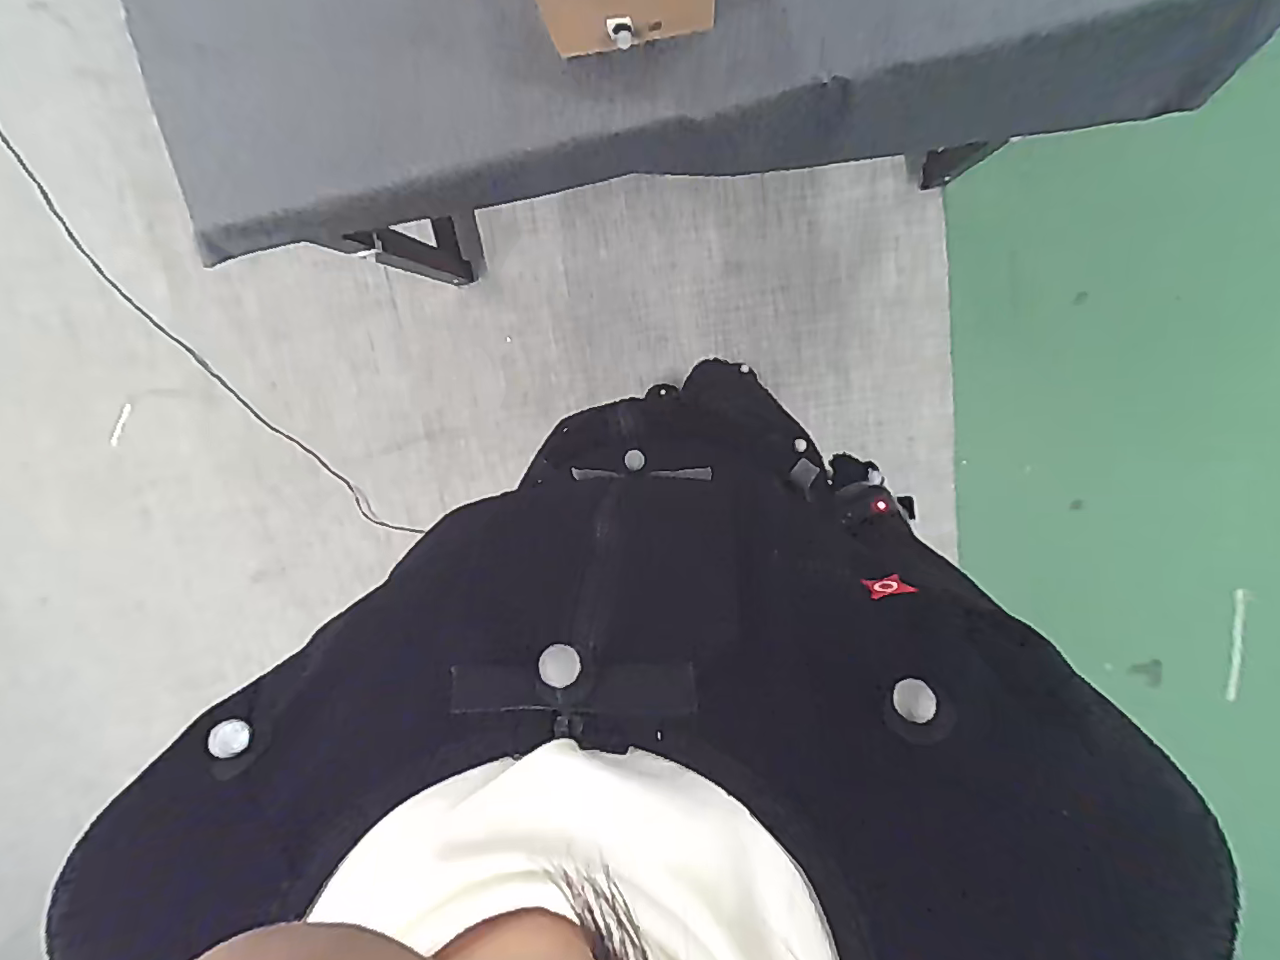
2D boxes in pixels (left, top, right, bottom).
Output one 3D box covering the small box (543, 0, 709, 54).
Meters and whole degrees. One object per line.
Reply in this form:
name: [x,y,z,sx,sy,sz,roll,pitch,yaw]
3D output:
small box: [-0.026,-0.541,0.489,0.168,0.176,0.179,-7,103,8]
